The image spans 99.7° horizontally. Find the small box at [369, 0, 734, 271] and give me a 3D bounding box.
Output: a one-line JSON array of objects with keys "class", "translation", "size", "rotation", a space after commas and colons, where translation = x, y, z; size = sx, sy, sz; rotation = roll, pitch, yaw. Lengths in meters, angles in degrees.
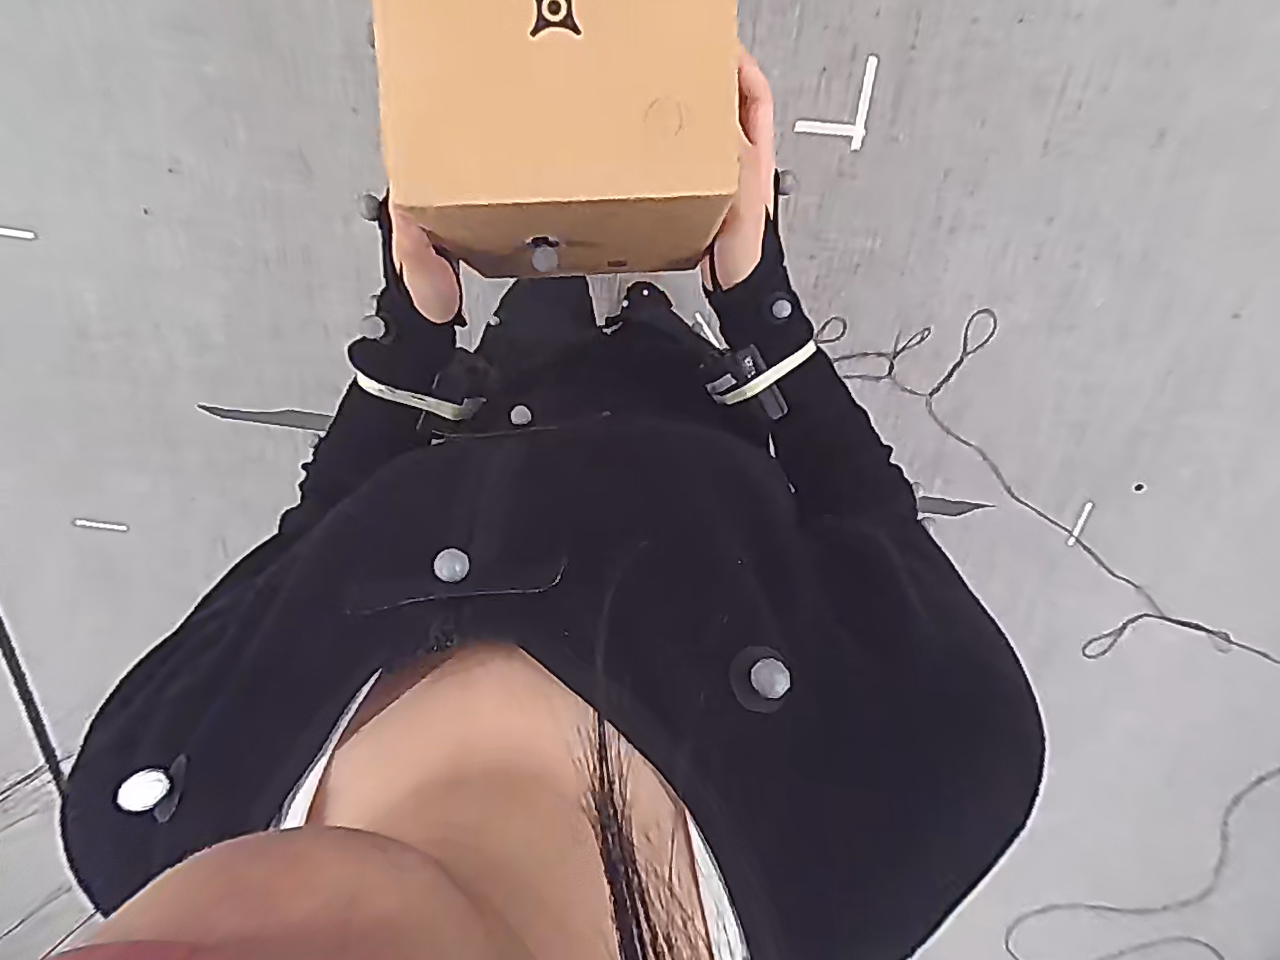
[{"class": "small box", "translation": [-0.040, -0.230, 0.321], "size": [0.168, 0.176, 0.179], "rotation": [-3, 98, -1]}]
